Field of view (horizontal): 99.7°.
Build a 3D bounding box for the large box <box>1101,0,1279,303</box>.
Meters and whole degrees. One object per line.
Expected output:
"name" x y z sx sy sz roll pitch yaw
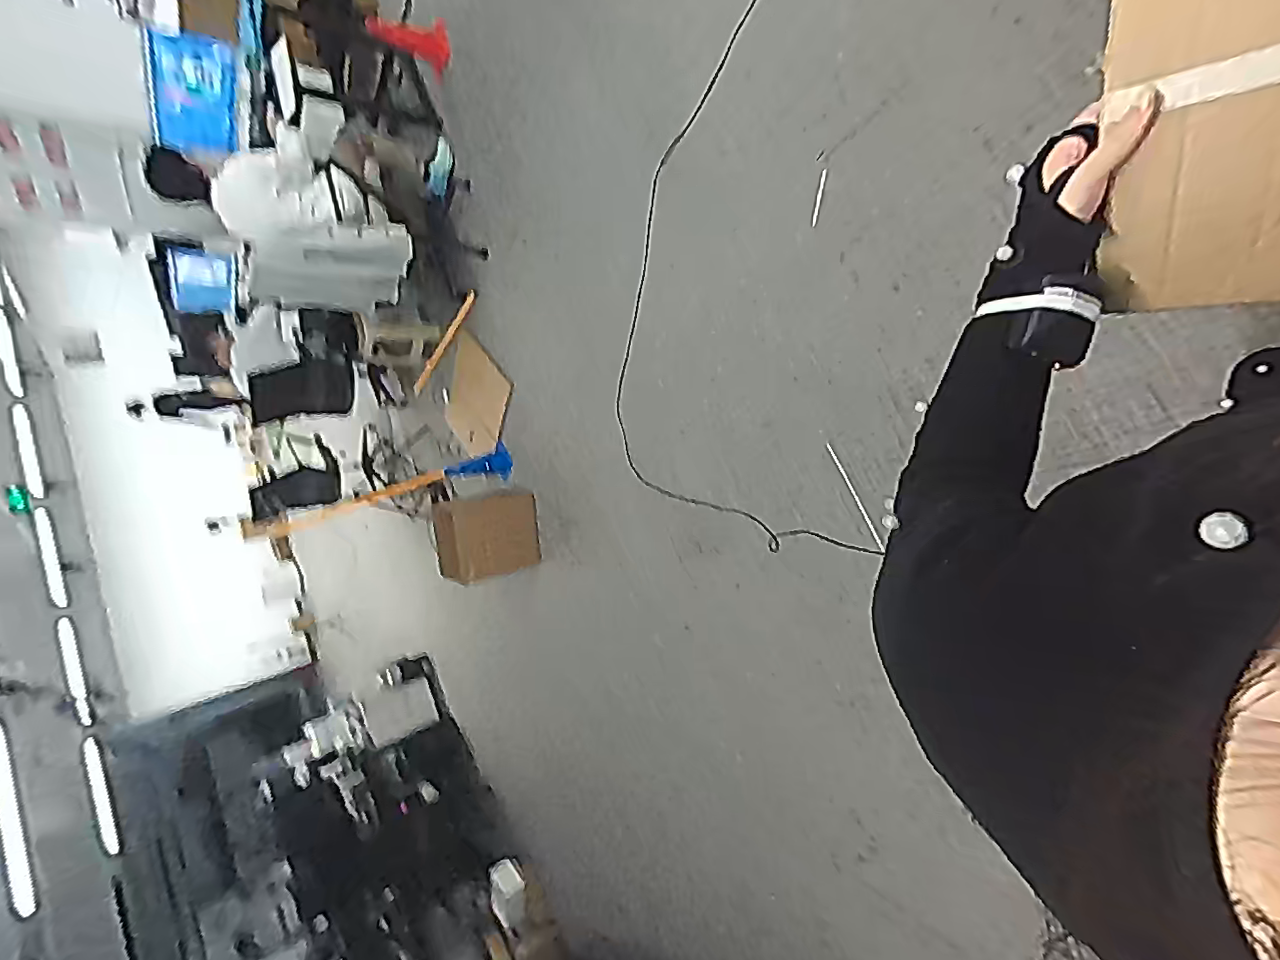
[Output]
"large box" 0.603 -0.325 0.367 0.408 0.320 0.320 10 121 43
